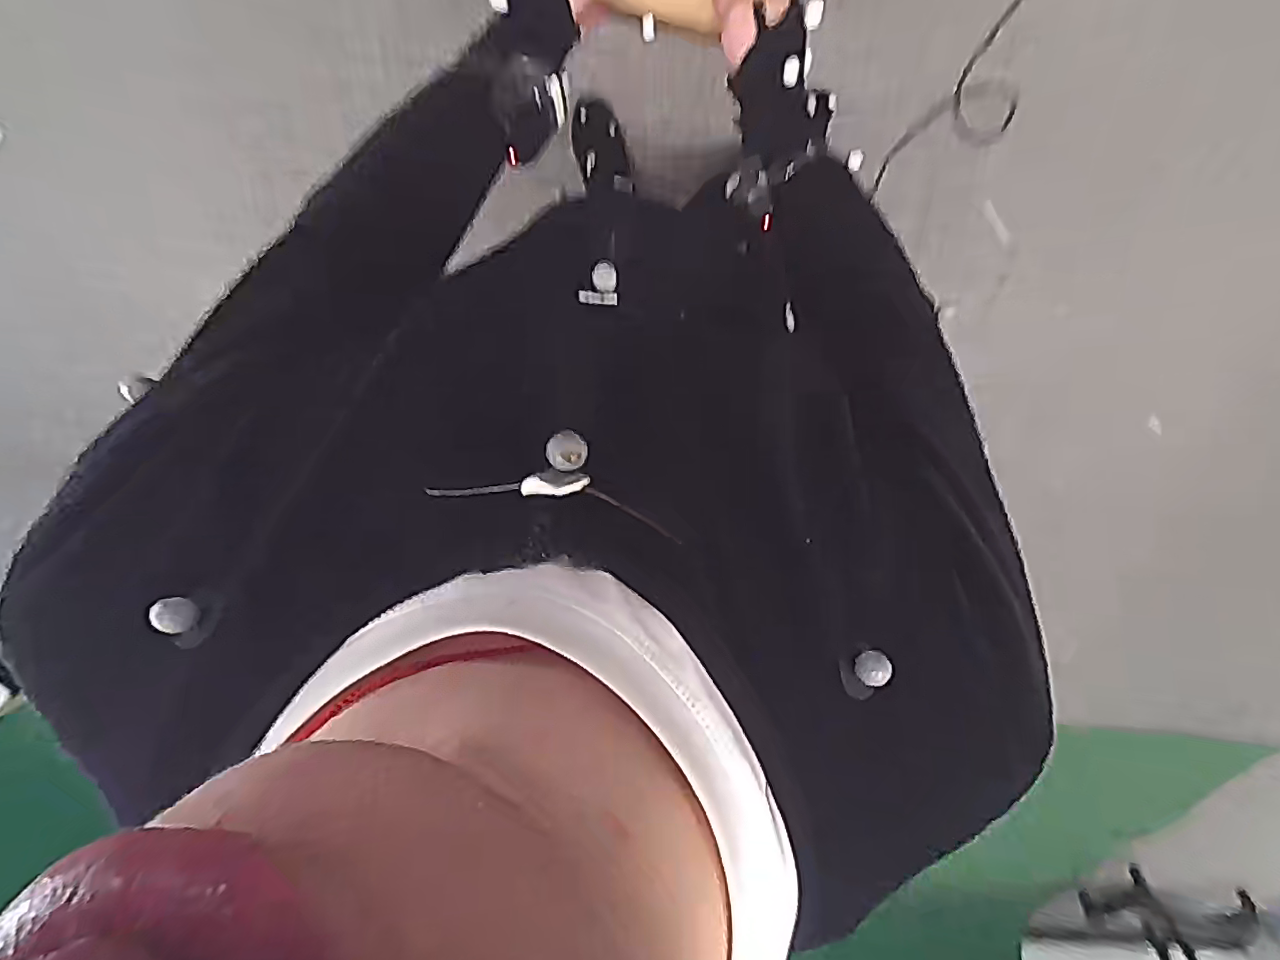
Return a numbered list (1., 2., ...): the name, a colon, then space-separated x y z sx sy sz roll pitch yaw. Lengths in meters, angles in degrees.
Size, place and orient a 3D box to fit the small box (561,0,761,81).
1. small box: 0.039 -0.512 0.527 0.179 0.176 0.168 16 124 -4
